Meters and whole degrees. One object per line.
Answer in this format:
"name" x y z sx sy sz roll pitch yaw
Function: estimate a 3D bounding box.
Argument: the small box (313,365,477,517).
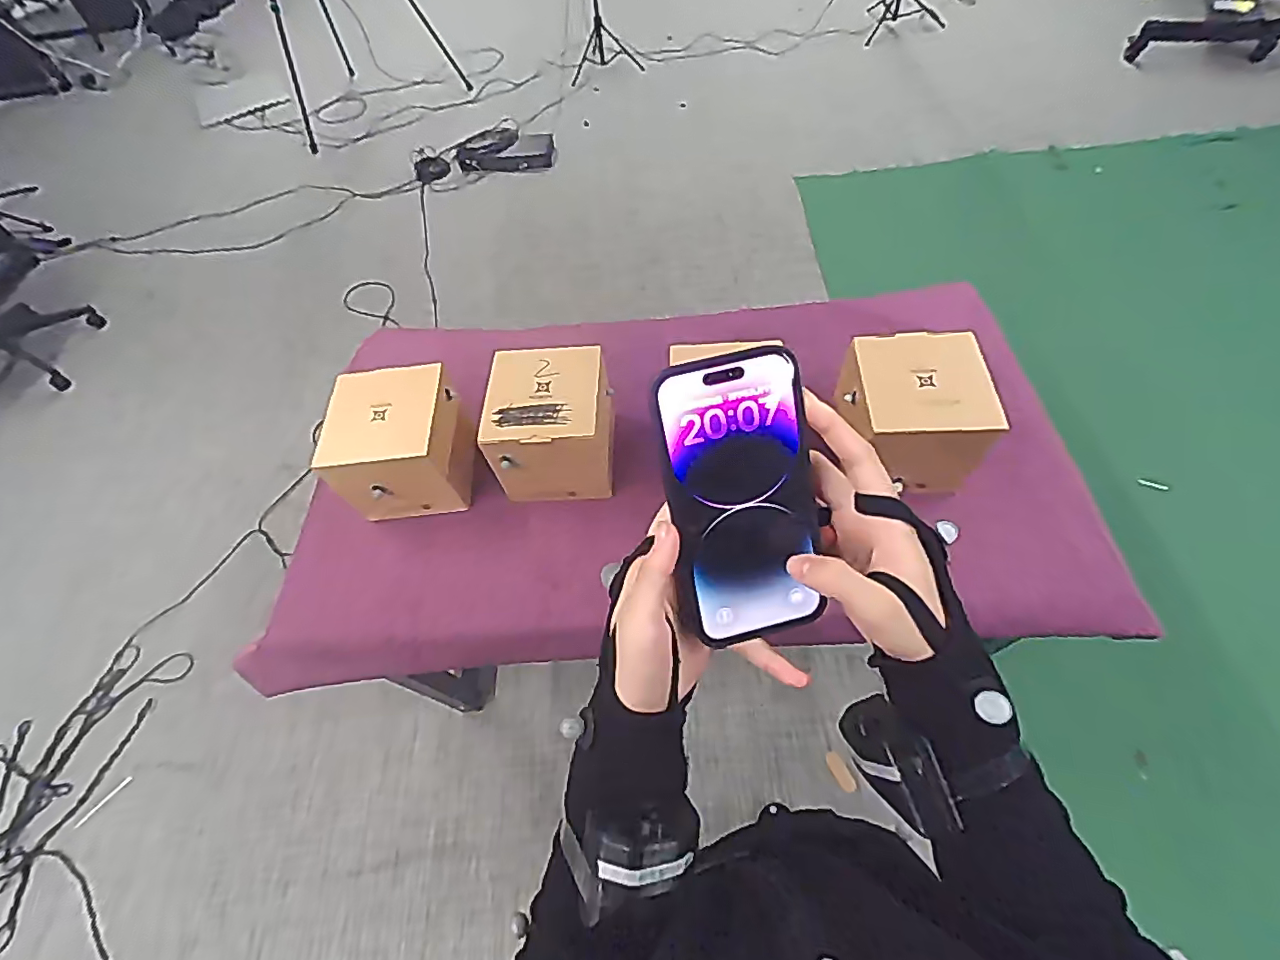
"small box" -0.368 -0.052 0.851 0.168 0.176 0.179 -7 57 2

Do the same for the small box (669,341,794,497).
"small box" 0.130 -0.084 0.815 0.168 0.176 0.179 -1 58 5

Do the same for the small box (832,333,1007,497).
"small box" 0.390 -0.092 0.794 0.168 0.176 0.179 0 58 7
